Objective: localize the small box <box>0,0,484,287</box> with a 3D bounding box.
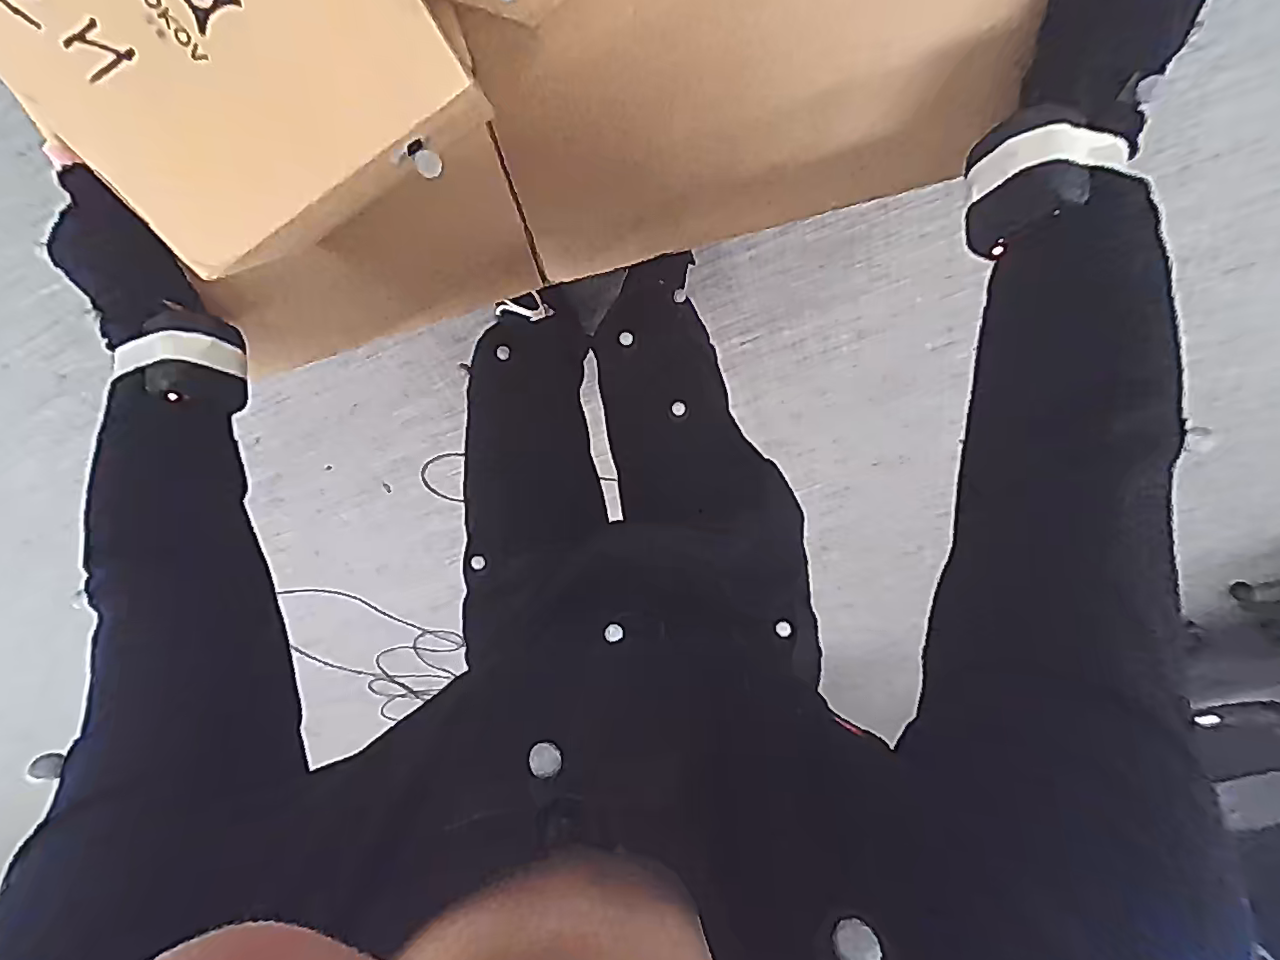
[{"bbox_3d":[-0.203,-0.237,0.295,0.179,0.176,0.168,-30,120,7],"label":"small box"}]
